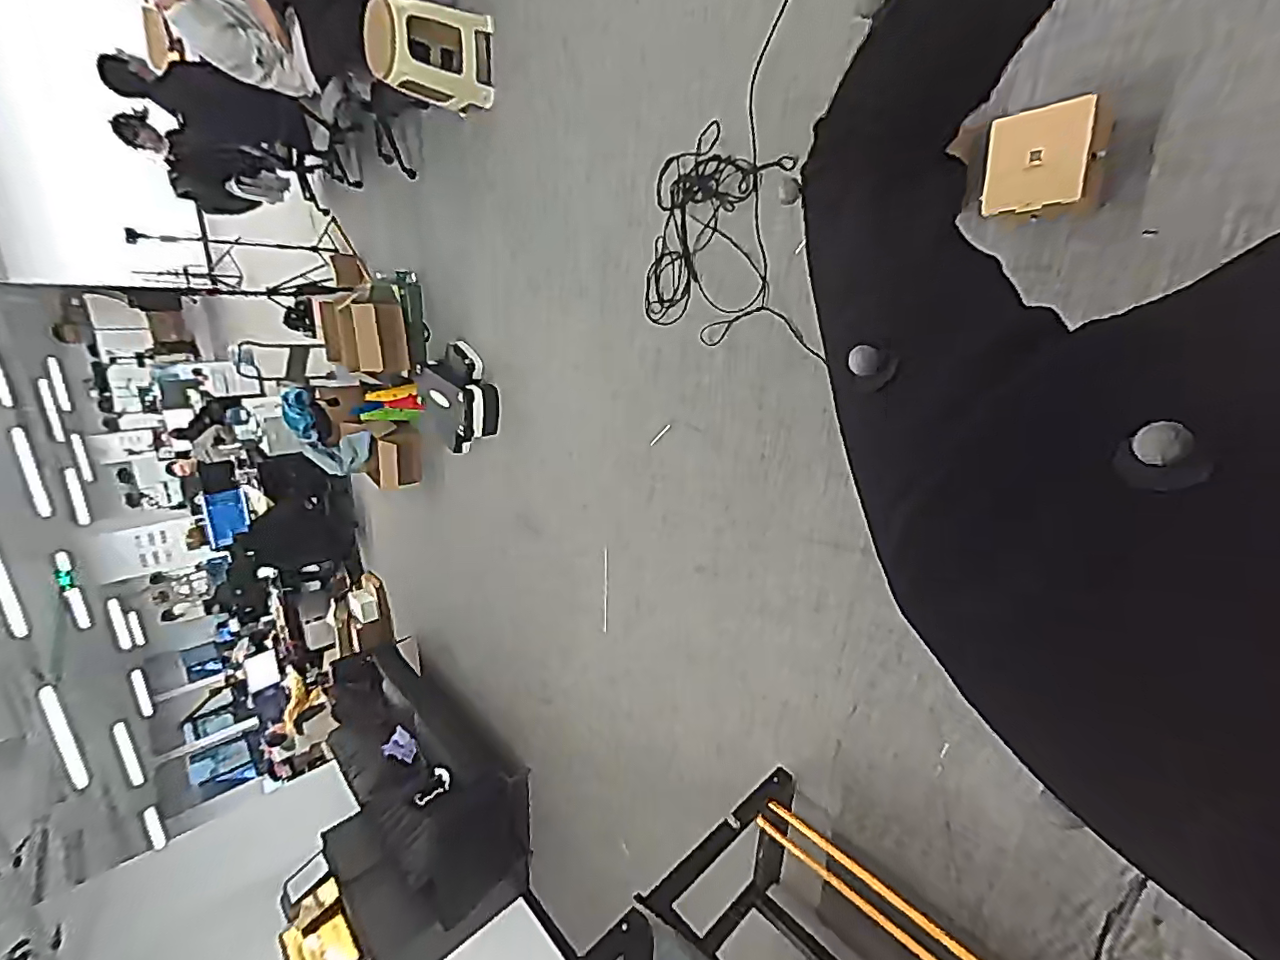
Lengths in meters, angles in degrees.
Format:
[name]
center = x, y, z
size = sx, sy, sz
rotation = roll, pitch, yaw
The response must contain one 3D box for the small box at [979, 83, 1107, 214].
[small box]
center = 0.804, -0.646, 1.079
size = 0.168, 0.176, 0.179
rotation = 14, 113, 45
